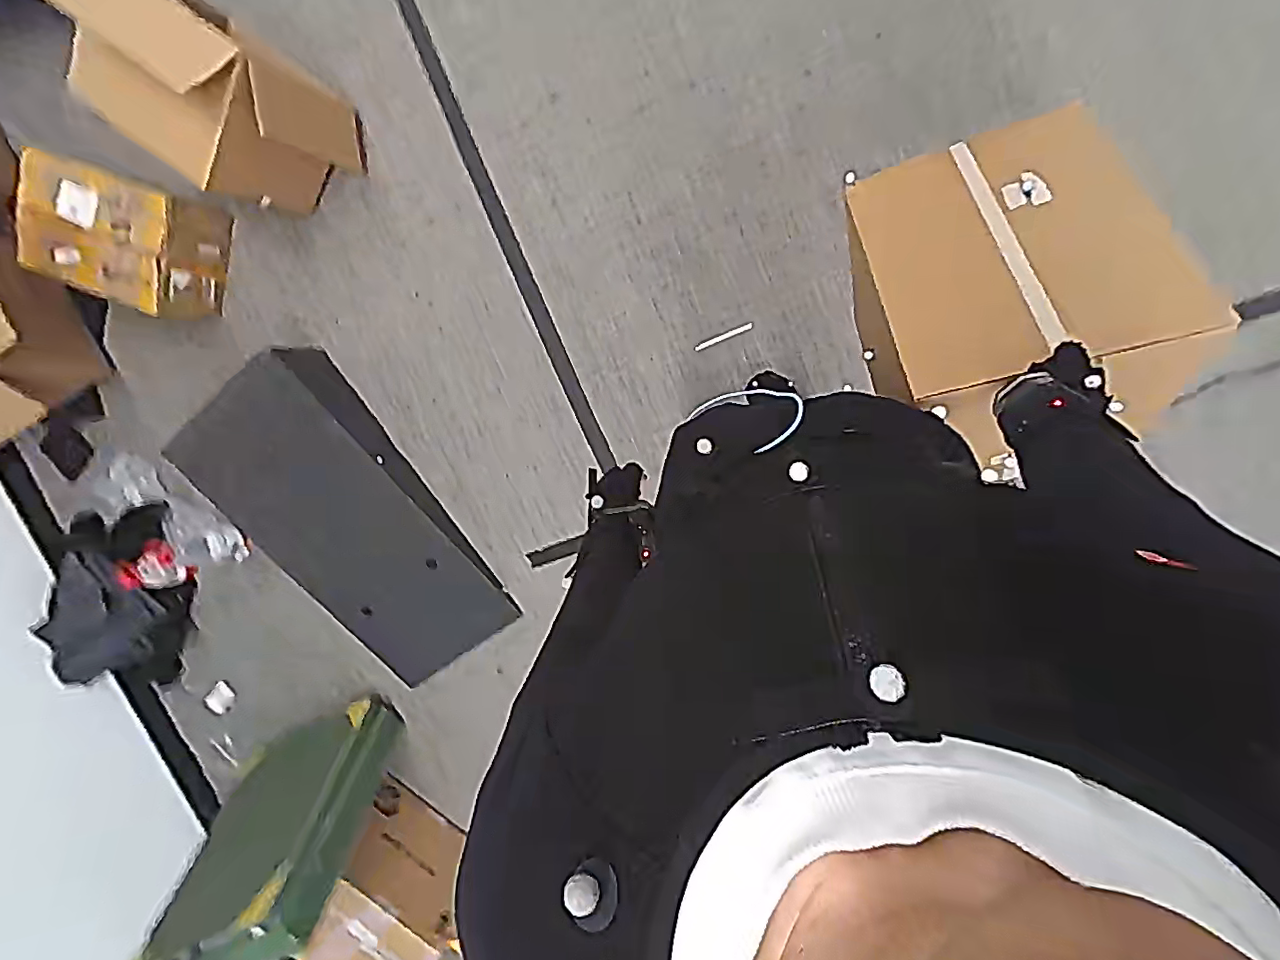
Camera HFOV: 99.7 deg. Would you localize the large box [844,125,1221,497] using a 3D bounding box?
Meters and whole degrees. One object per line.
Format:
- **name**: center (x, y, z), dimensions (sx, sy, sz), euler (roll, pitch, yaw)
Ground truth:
- **large box**: center (0.529, -0.236, 0.840), dimensions (0.320, 0.320, 0.408), euler (-12, 60, 16)
